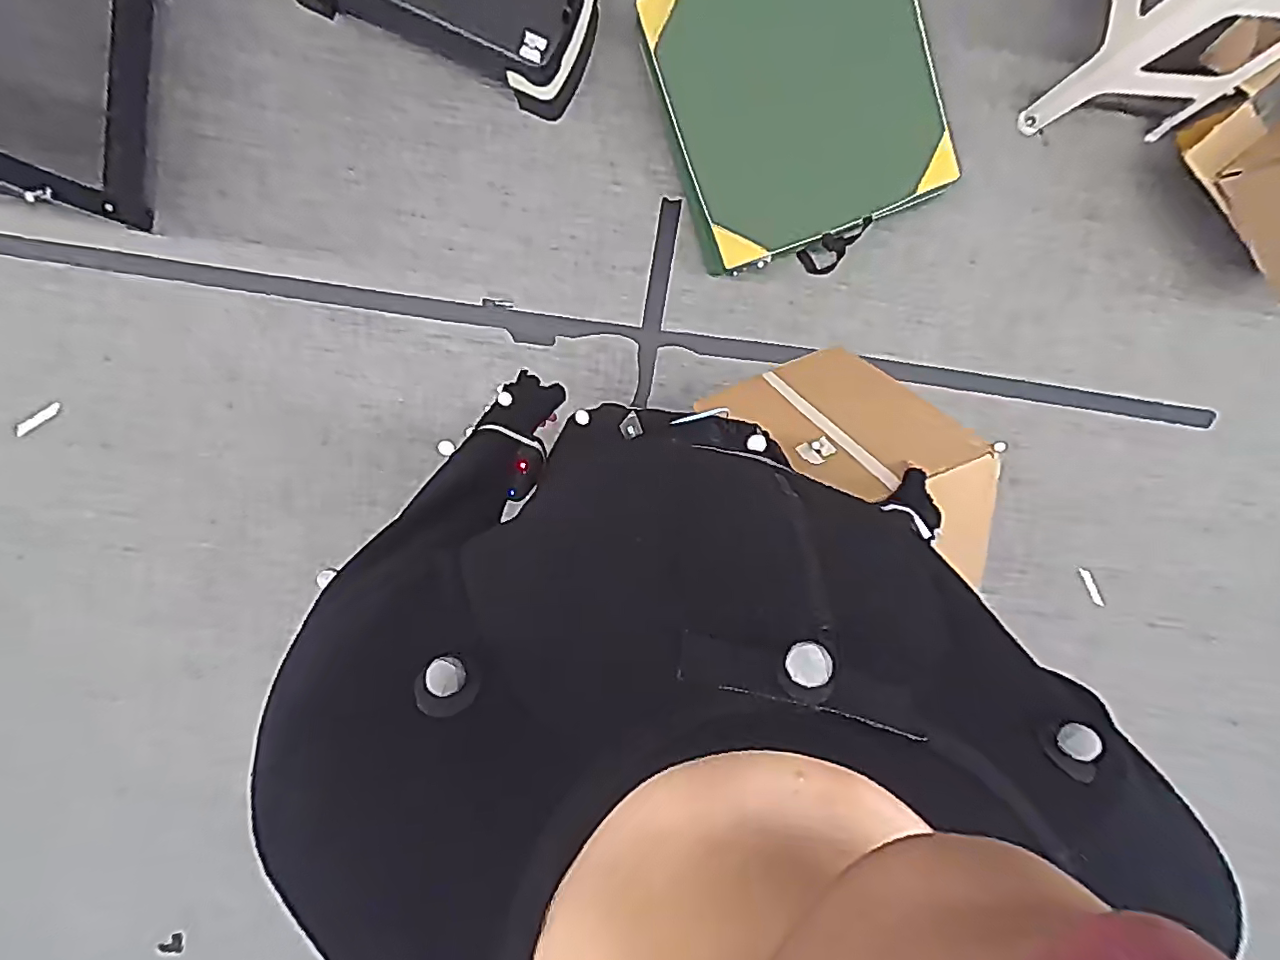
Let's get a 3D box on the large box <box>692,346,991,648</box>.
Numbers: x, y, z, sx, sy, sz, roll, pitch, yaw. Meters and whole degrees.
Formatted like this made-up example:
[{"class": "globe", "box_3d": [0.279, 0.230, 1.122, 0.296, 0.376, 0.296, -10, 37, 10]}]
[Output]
[{"class": "large box", "box_3d": [0.333, 0.015, 0.987, 0.320, 0.408, 0.320, -23, 129, -2]}]
